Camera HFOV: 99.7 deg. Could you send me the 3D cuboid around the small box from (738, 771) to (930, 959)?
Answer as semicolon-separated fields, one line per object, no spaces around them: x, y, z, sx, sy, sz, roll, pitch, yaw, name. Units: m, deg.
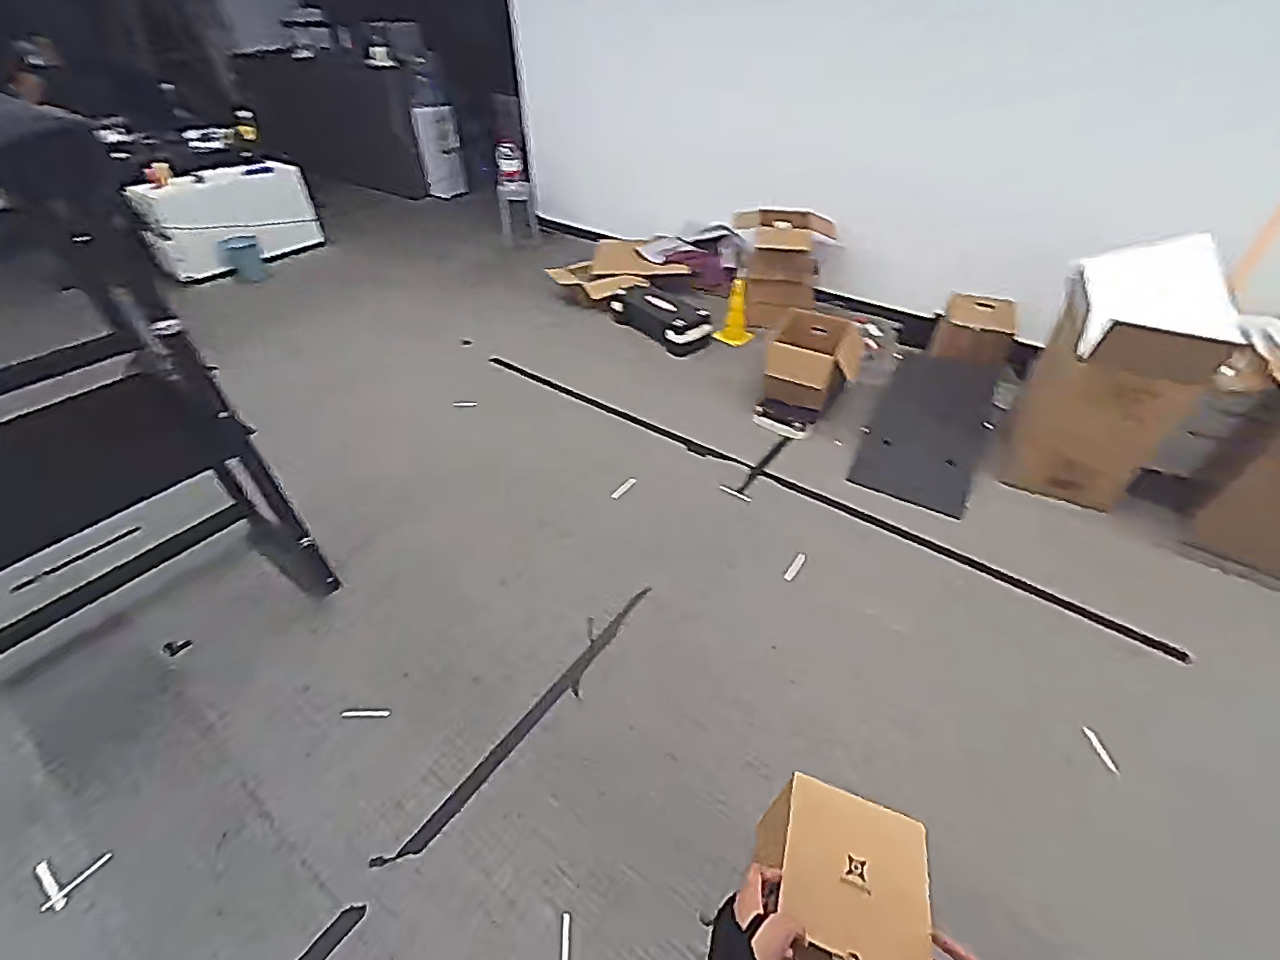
0.228;0.505;0.662;0.168;0.176;0.179;17;39;10;small box
